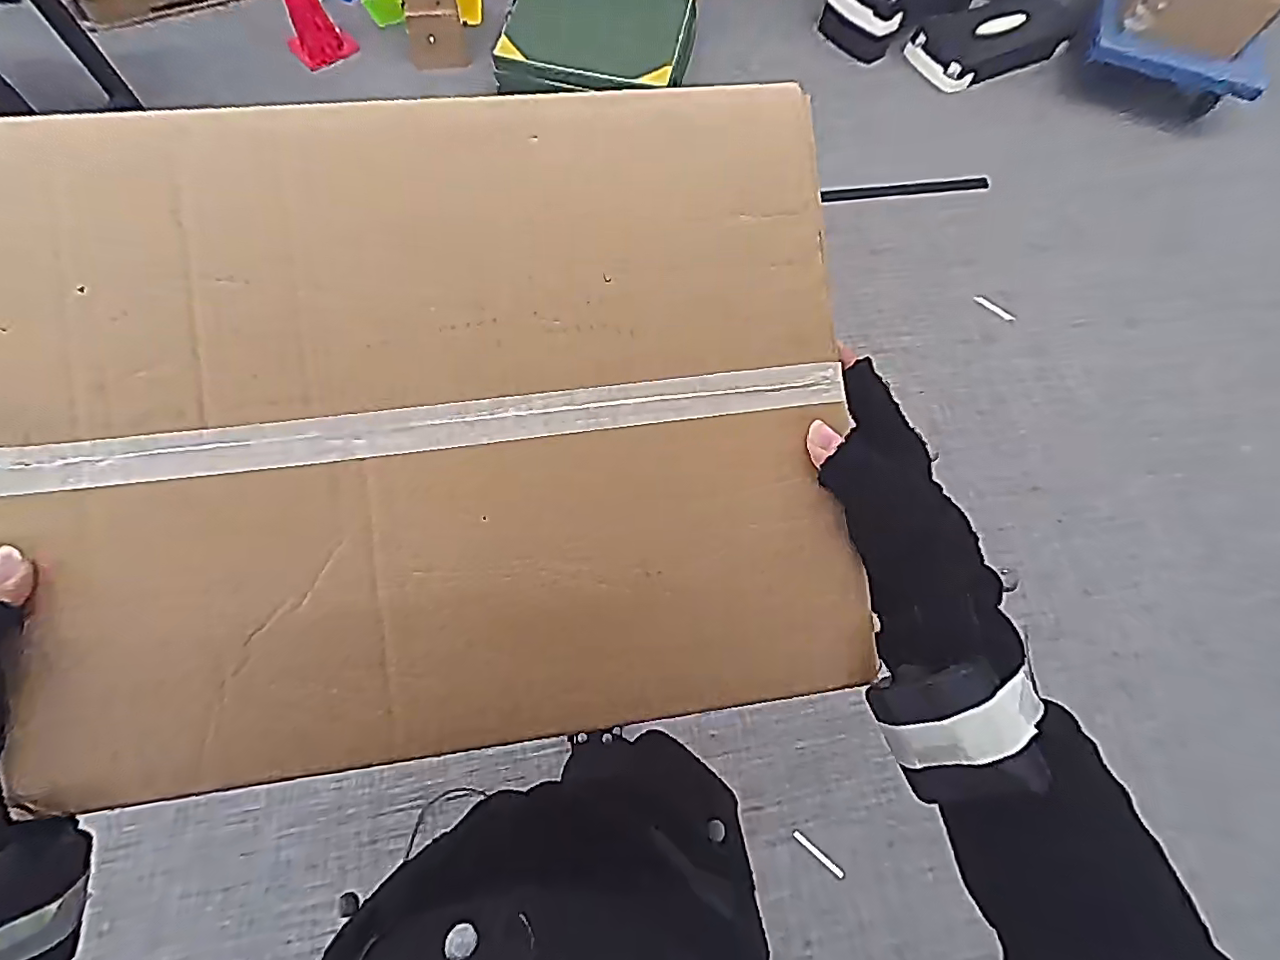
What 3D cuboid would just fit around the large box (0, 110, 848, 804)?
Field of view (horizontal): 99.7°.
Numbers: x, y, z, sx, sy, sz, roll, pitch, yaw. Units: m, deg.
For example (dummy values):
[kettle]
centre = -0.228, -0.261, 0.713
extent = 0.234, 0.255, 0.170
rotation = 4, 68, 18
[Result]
[large box]
centre = -0.113, -0.023, 0.419
extent = 0.408, 0.320, 0.320
rotation = -6, 90, -6
